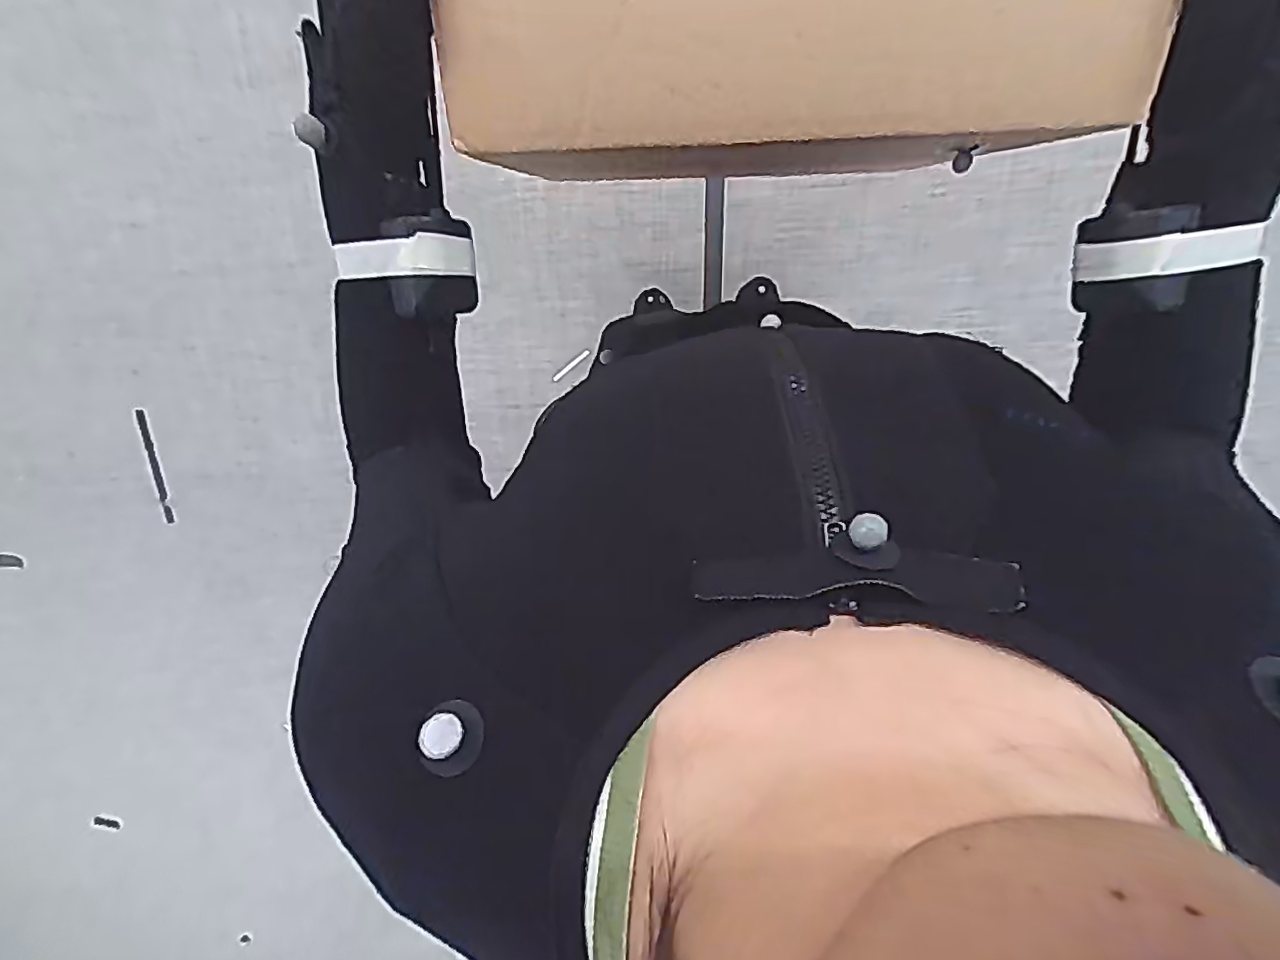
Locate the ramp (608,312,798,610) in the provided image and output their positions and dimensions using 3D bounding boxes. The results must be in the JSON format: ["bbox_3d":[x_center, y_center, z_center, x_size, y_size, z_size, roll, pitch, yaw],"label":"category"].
[{"bbox_3d":[0.181,0.012,1.626,0.509,0.206,0.991,-2,109,3],"label":"ramp"}]

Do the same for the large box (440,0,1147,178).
[{"bbox_3d":[0.085,-0.411,0.397,0.408,0.320,0.320,-1,116,1],"label":"large box"}]
